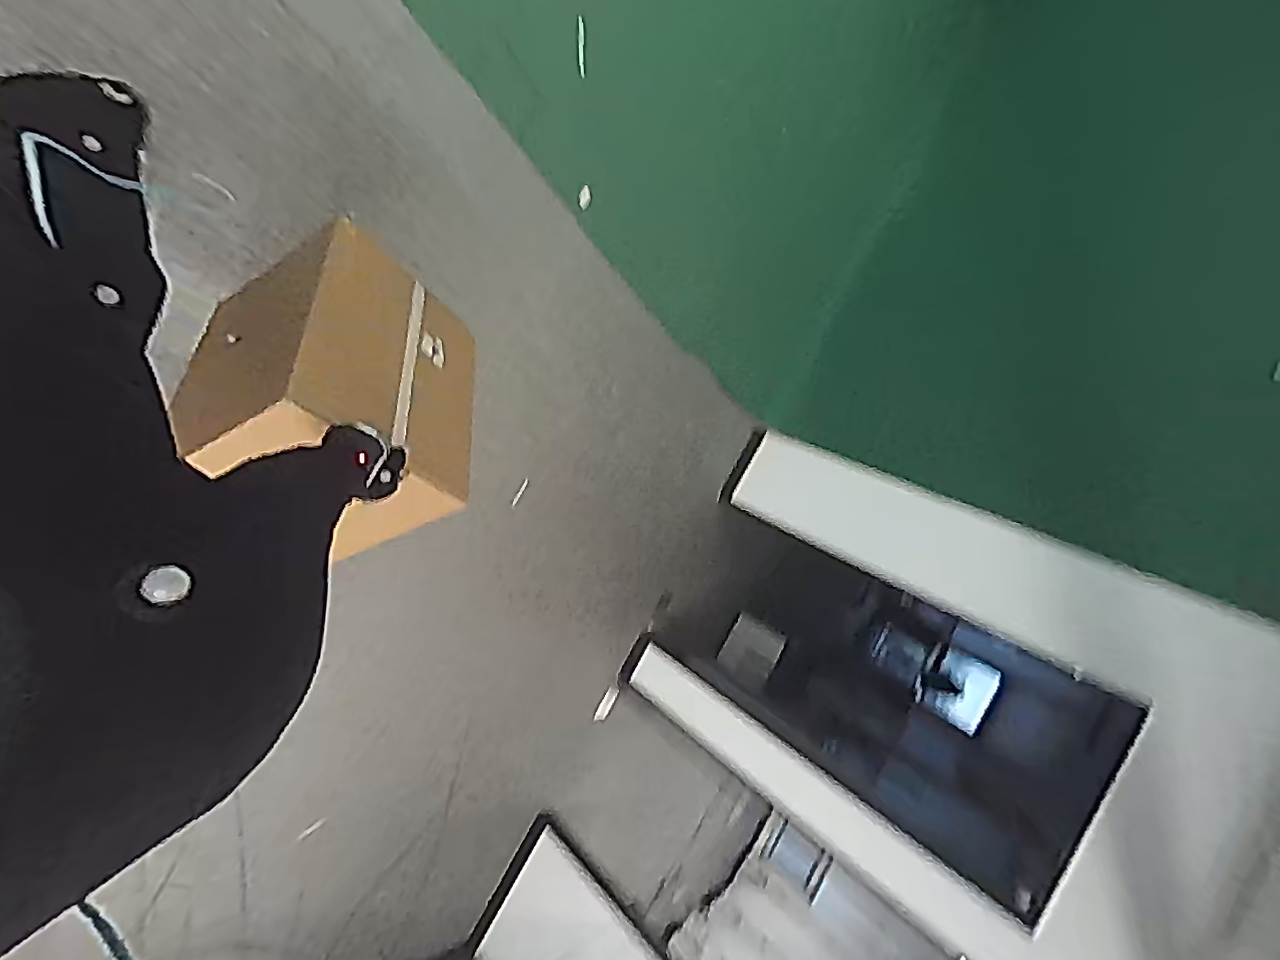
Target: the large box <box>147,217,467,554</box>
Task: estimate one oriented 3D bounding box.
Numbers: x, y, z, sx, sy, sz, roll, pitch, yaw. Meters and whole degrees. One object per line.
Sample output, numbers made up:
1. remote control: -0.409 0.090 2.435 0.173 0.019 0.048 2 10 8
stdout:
1. large box: -0.521 -0.141 0.924 0.320 0.408 0.320 -22 144 17
